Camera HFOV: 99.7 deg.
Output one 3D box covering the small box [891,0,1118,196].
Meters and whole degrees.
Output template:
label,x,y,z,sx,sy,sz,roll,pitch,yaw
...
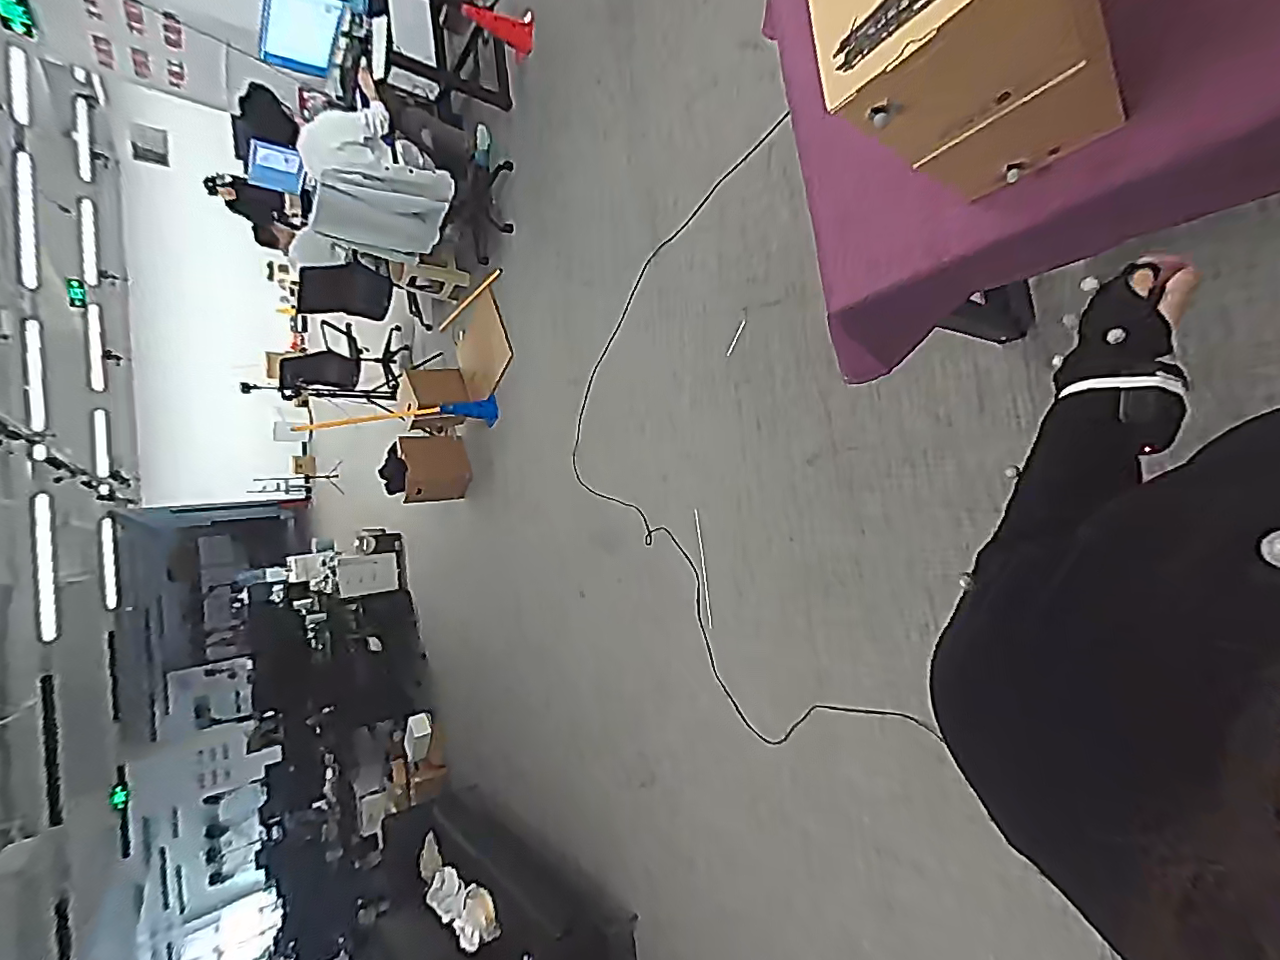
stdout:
label,x,y,z,sx,sy,sz,roll,pitch,yaw
small box,0.425,-0.472,0.634,0.168,0.176,0.179,-13,84,52
